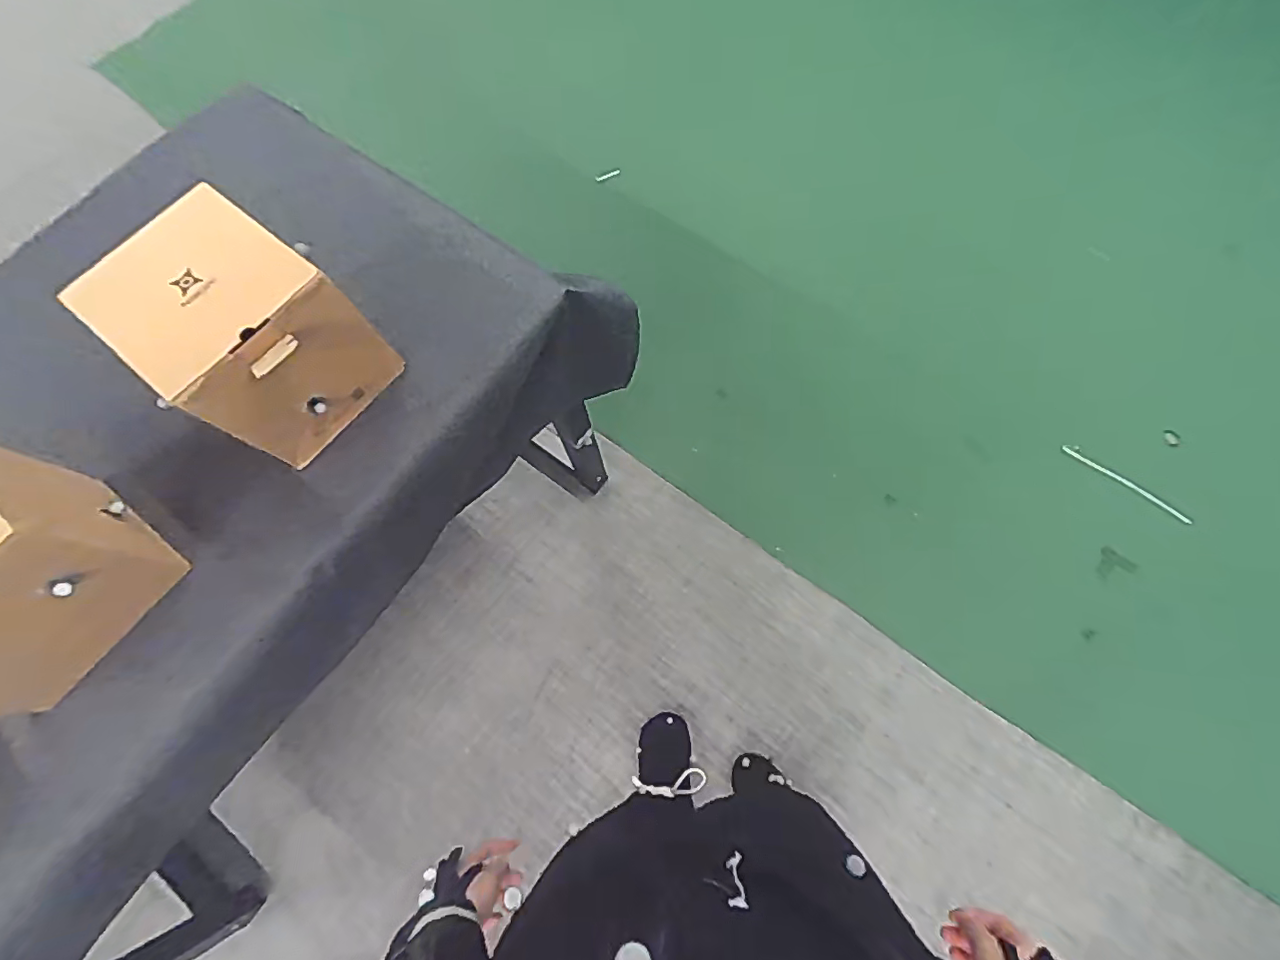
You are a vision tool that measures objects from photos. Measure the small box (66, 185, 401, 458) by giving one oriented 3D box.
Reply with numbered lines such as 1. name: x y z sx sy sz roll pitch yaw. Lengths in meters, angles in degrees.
1. small box: -0.392 -0.149 0.555 0.179 0.176 0.168 36 77 12
